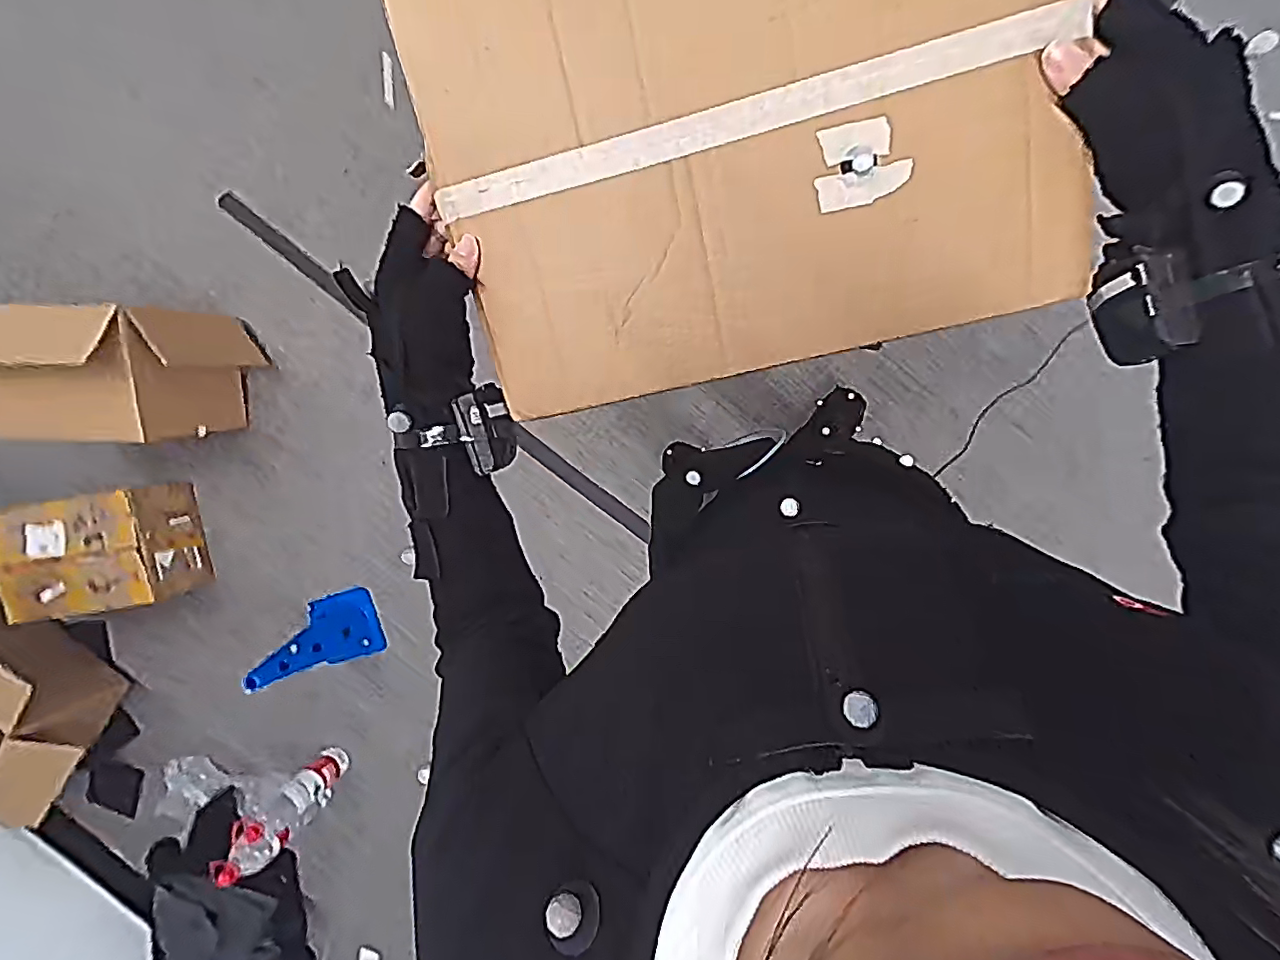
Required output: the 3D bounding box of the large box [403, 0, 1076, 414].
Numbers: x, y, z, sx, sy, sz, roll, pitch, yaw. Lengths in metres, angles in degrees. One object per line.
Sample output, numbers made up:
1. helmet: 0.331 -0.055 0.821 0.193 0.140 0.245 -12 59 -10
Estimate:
1. large box: 0.078 -0.276 0.496 0.408 0.320 0.320 -12 107 7
